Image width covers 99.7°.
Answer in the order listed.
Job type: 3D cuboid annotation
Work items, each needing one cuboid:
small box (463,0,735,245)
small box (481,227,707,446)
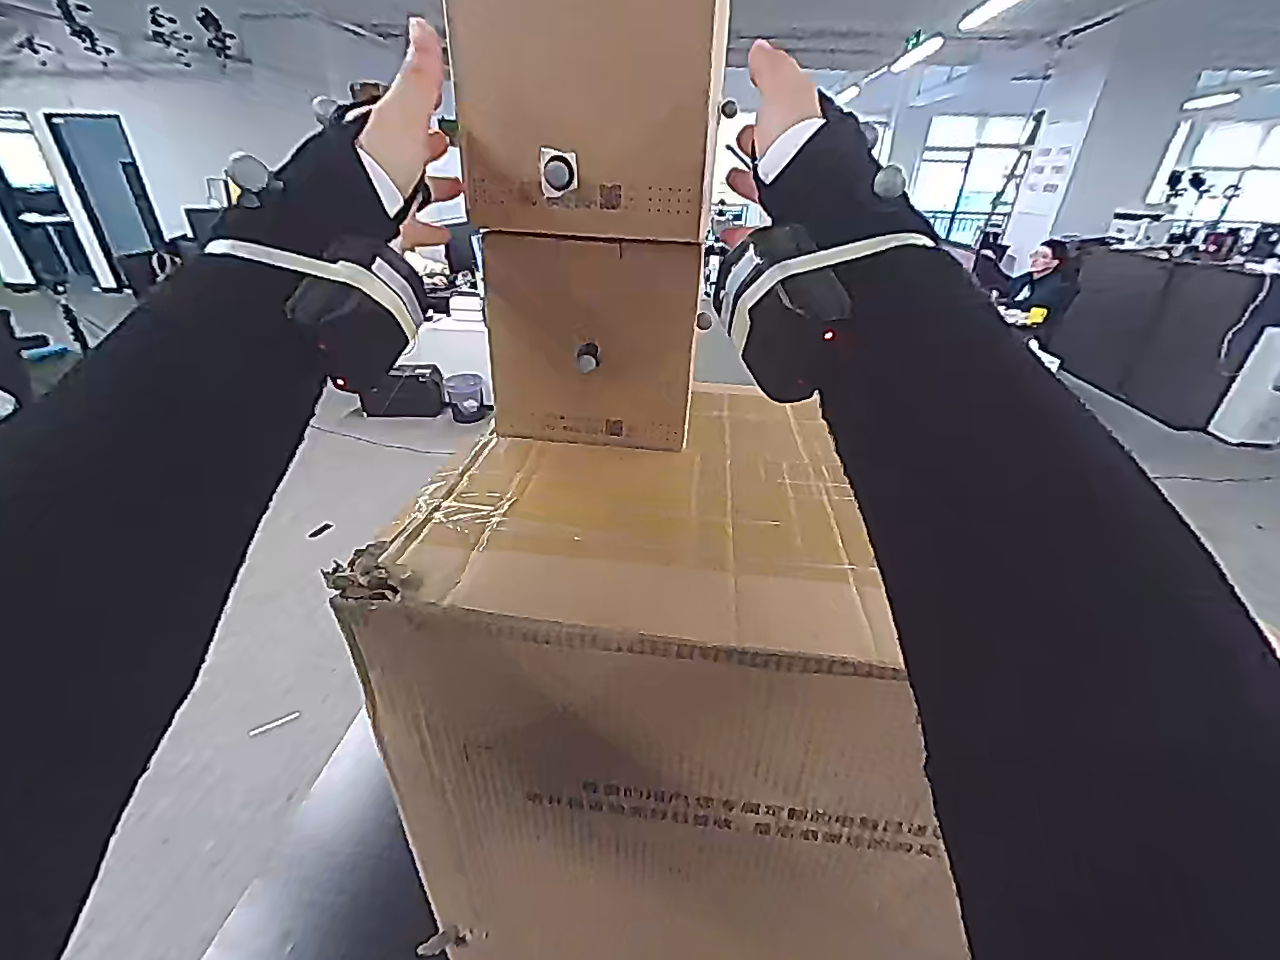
[{"bbox_3d":[-0.021,-0.278,0.403,0.168,0.176,0.179,5,29,6],"label":"small box"},{"bbox_3d":[-0.027,-0.141,0.495,0.168,0.176,0.179,5,29,4],"label":"small box"}]
